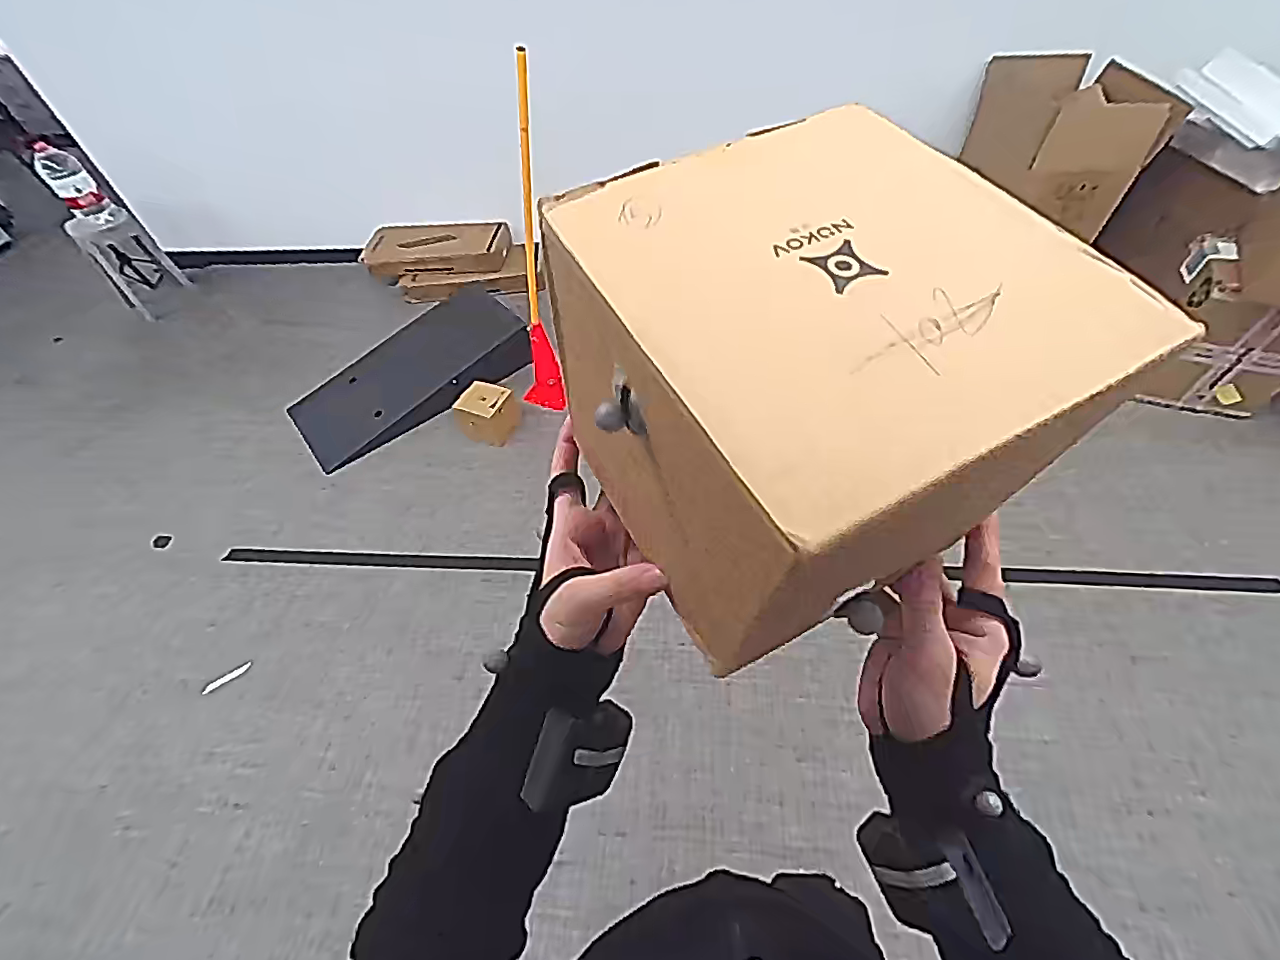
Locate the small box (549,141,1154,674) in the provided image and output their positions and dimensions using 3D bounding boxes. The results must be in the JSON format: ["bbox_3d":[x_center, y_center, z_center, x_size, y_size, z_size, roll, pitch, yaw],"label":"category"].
[{"bbox_3d":[0.071,-0.029,0.278,0.168,0.176,0.179,-27,63,-14],"label":"small box"}]
